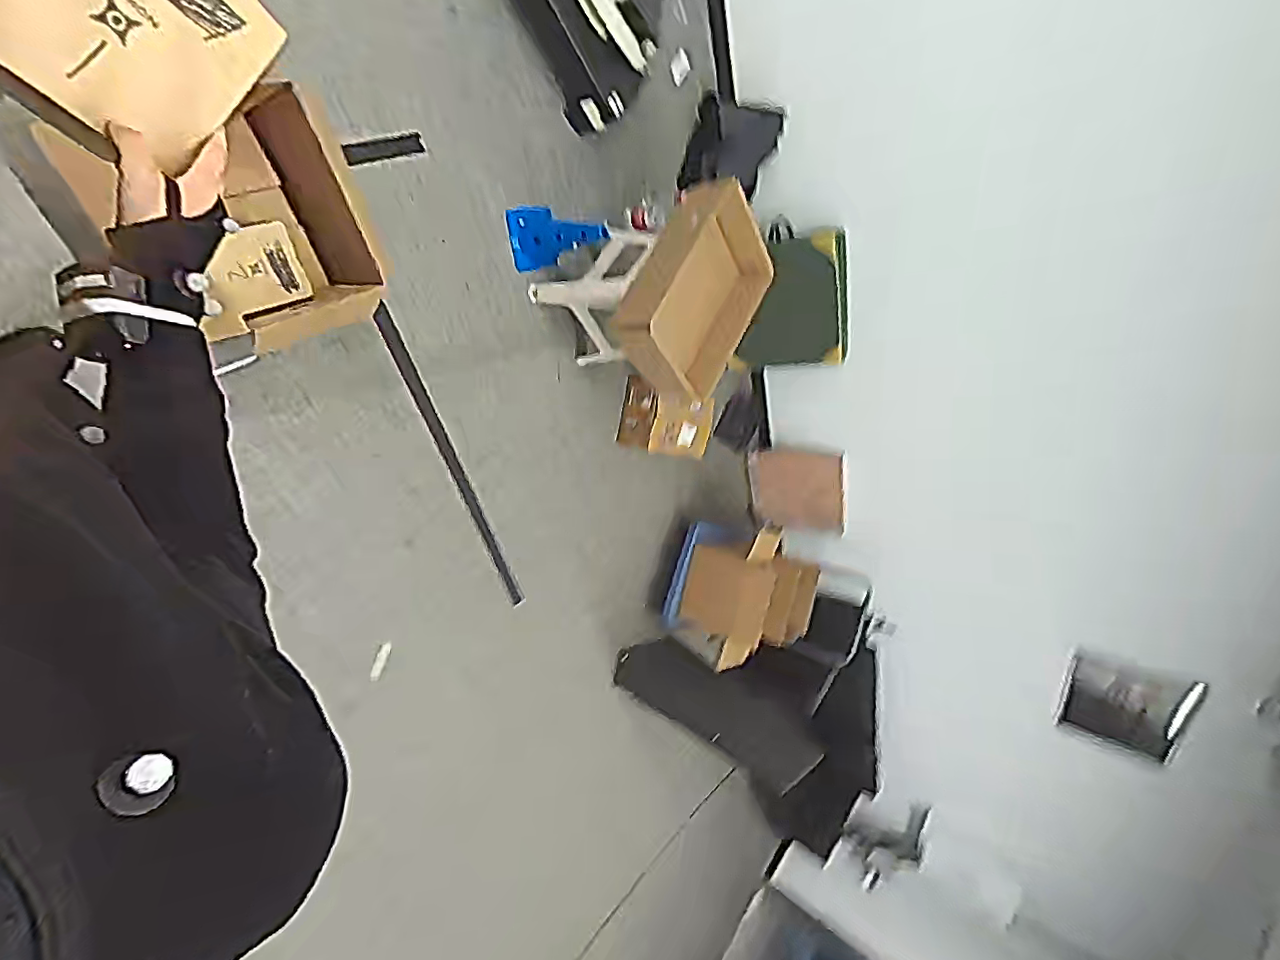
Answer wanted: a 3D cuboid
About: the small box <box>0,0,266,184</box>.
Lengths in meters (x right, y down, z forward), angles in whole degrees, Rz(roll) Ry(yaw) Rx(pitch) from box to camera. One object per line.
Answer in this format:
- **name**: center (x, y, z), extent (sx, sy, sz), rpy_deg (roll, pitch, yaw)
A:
- **small box**: center (-0.472, -0.389, 0.446), extent (0.179, 0.176, 0.168), rpy_deg (-61, 156, -5)
